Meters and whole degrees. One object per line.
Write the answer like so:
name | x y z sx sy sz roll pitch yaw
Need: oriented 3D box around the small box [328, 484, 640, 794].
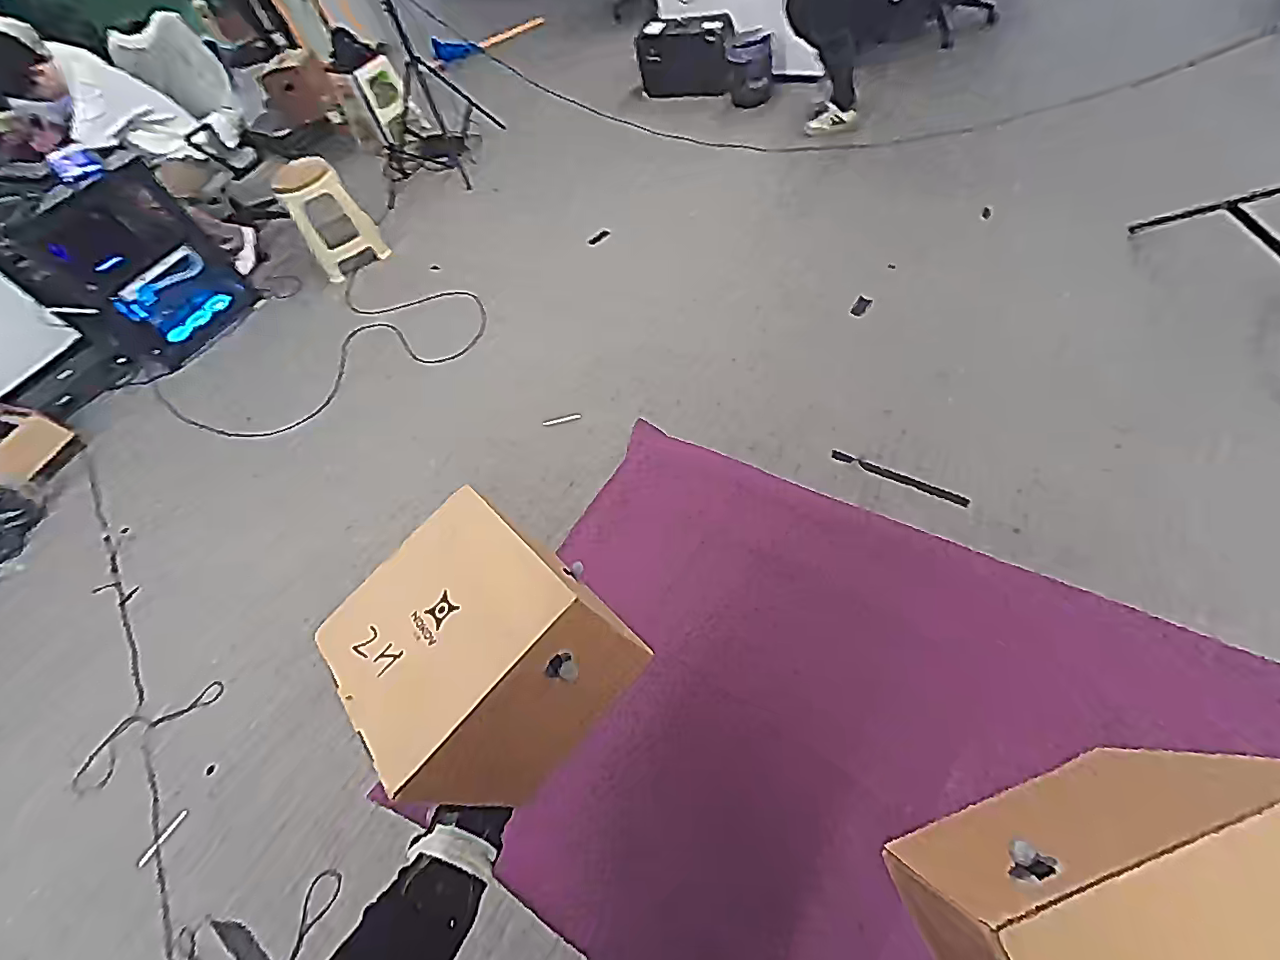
small box | -0.120 0.142 0.475 0.179 0.176 0.168 -47 54 -9

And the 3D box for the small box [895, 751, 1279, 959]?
small box | 0.266 0.252 0.270 0.179 0.176 0.168 -23 65 -2
